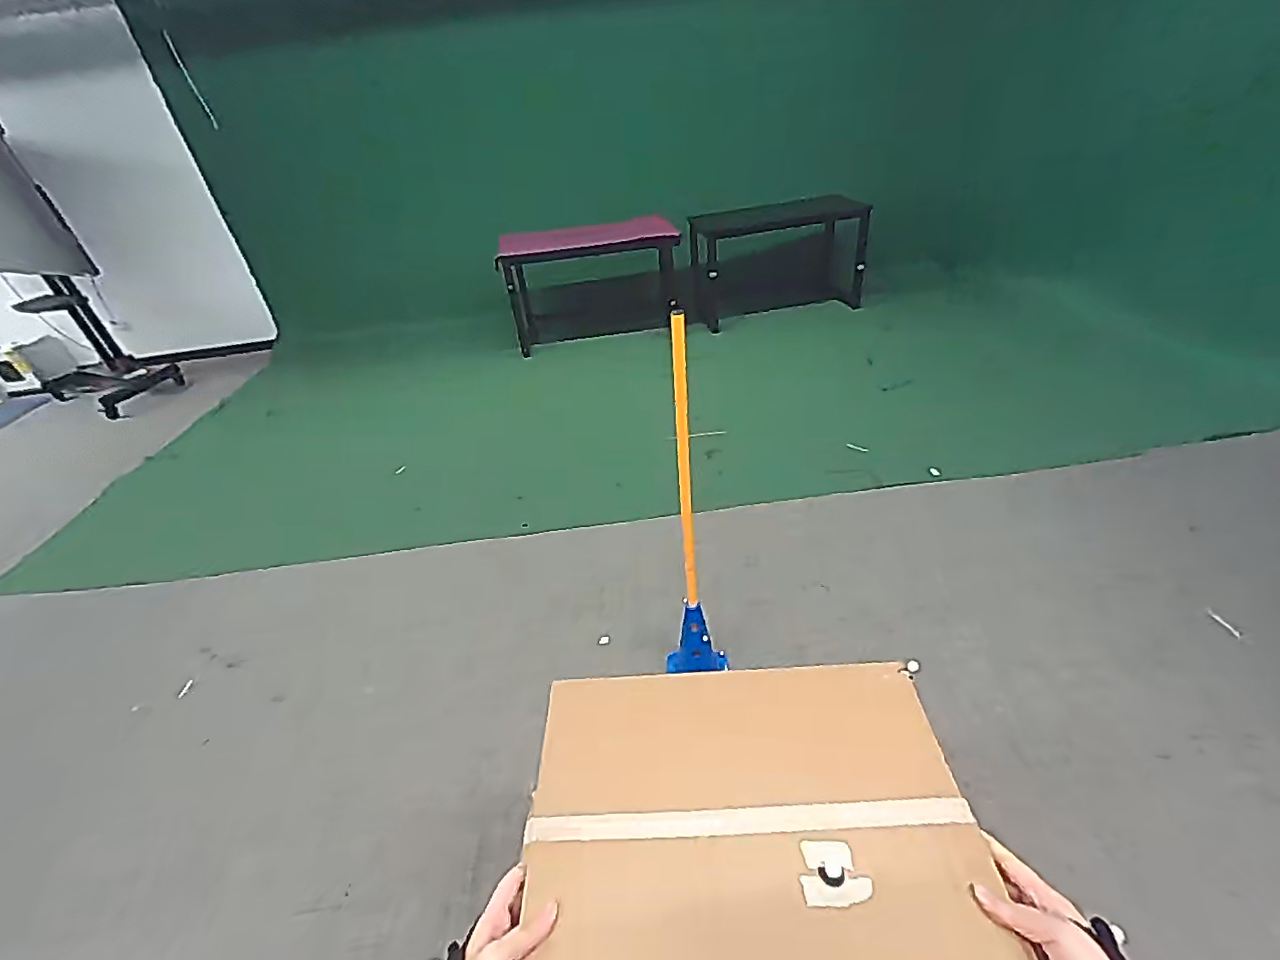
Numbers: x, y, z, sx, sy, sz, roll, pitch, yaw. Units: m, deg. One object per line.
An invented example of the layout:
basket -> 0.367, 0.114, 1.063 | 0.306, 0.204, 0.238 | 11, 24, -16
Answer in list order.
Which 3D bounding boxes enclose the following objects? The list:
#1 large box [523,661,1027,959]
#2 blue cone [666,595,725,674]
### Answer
large box -> 0.109, 0.434, 0.602 | 0.408, 0.320, 0.320 | -3, 38, 2
blue cone -> 0.163, 0.503, 1.649 | 0.193, 0.380, 0.192 | -2, 35, 7
